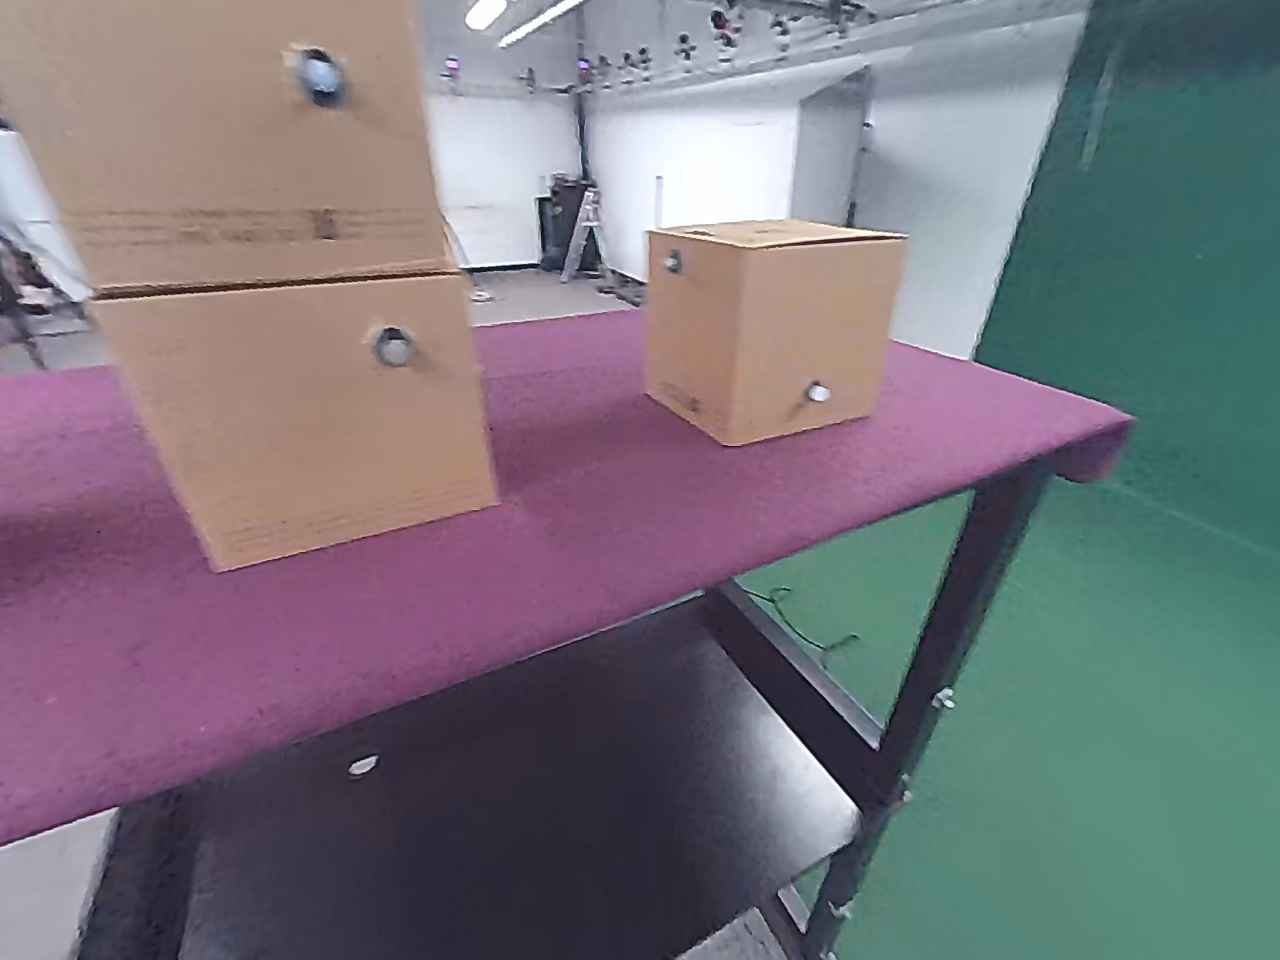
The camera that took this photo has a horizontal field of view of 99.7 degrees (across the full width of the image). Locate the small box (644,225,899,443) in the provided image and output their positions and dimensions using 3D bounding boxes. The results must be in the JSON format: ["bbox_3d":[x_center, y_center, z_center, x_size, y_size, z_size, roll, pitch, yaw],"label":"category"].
[{"bbox_3d":[0.113,-0.152,0.535,0.179,0.176,0.168,-13,31,-23],"label":"small box"}]

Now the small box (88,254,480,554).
[{"bbox_3d":[-0.222,-0.073,0.391,0.179,0.176,0.168,-14,32,-23],"label":"small box"}]

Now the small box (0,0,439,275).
[{"bbox_3d":[-0.225,-0.217,0.316,0.168,0.176,0.179,-13,32,-24],"label":"small box"}]
